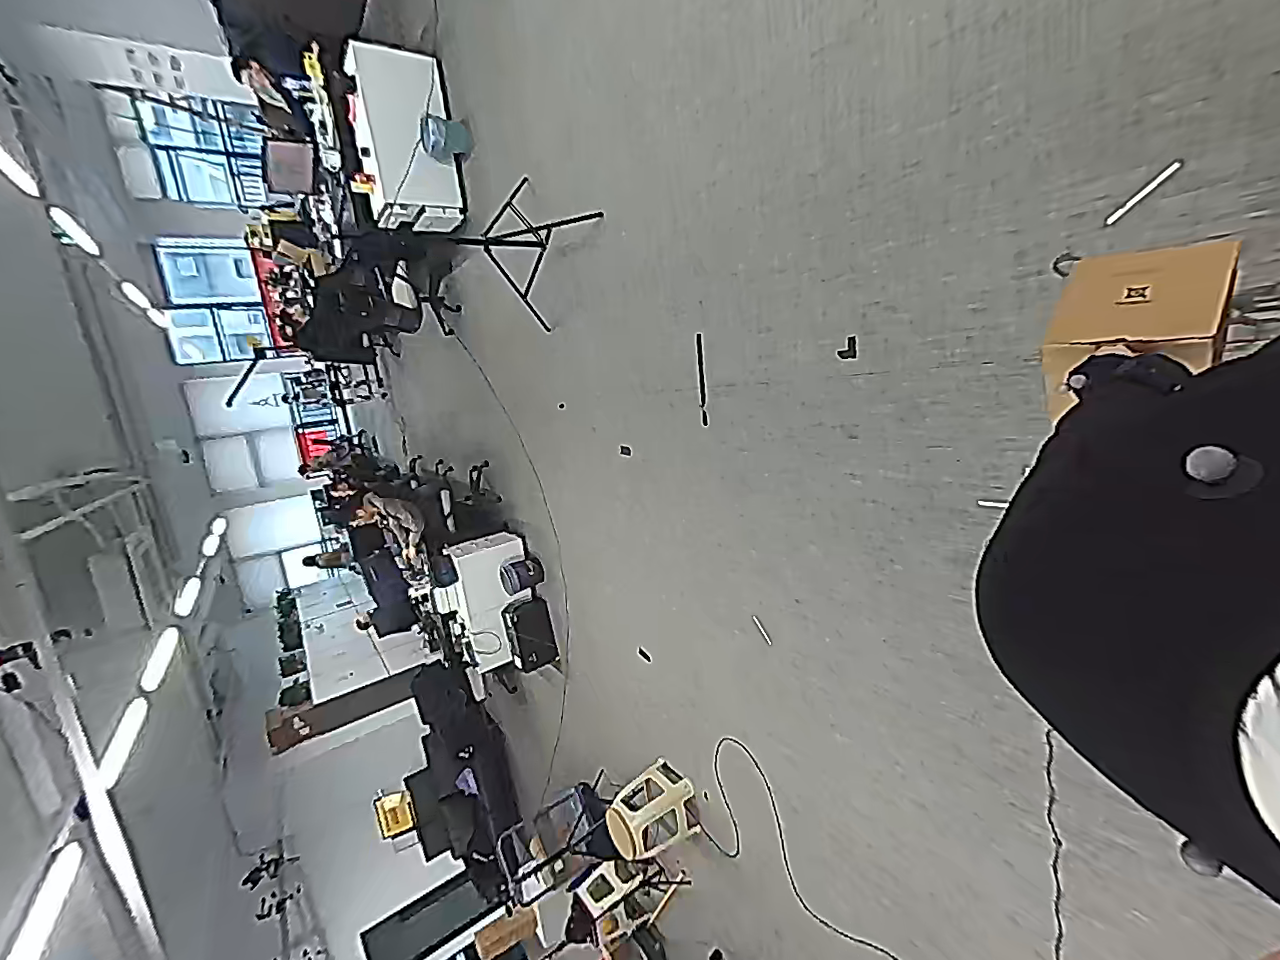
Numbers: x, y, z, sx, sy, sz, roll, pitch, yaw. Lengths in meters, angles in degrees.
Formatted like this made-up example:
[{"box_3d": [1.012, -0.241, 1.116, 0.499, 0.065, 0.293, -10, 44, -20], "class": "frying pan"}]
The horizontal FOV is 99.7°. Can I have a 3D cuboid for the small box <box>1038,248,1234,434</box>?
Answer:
[{"box_3d": [0.680, -0.183, 0.747, 0.168, 0.179, 0.176, 12, 151, 47], "class": "small box"}]
